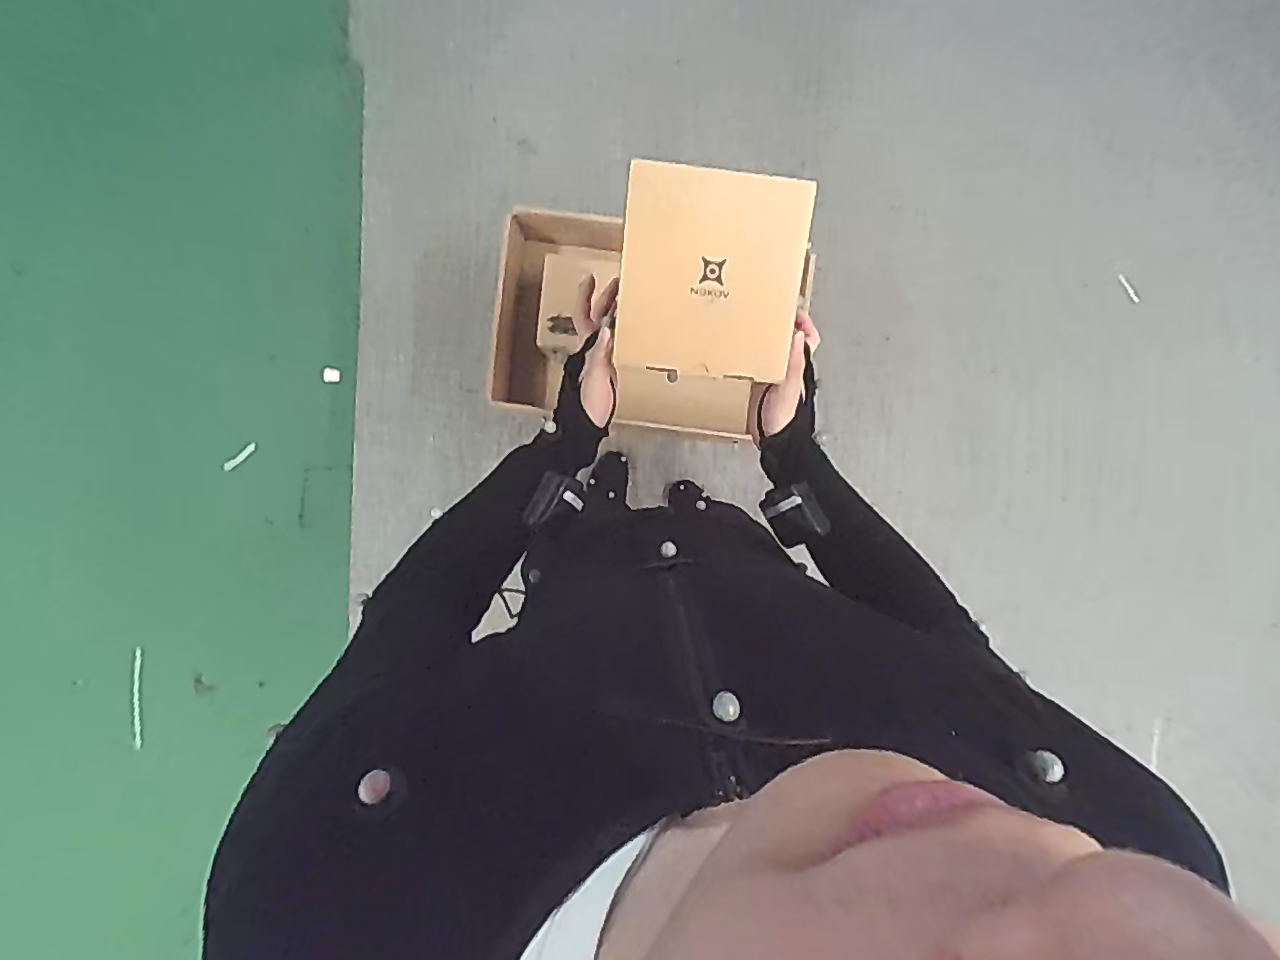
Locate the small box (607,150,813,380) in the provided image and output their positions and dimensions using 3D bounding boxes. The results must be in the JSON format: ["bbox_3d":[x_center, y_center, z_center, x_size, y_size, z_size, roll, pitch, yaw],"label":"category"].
[{"bbox_3d":[0.054,-0.201,0.548,0.168,0.176,0.179,4,104,-4],"label":"small box"}]
